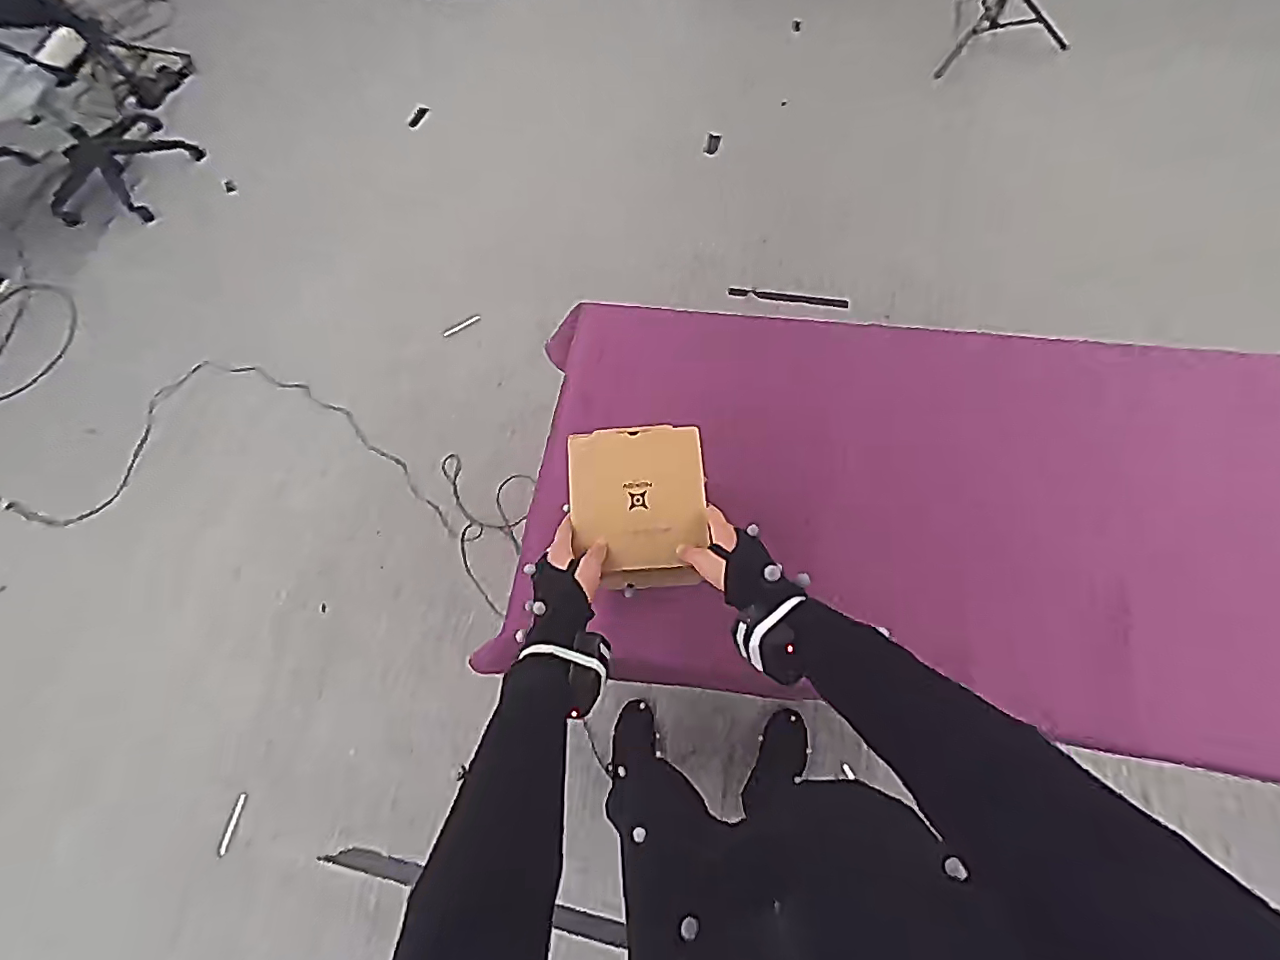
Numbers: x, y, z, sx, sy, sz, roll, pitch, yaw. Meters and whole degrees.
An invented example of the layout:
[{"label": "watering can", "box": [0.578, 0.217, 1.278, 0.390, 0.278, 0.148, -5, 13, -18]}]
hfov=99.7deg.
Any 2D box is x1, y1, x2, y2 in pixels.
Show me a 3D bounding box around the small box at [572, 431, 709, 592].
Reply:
[{"label": "small box", "box": [-0.003, 0.049, 0.738, 0.168, 0.176, 0.179, -3, 70, -1]}]
